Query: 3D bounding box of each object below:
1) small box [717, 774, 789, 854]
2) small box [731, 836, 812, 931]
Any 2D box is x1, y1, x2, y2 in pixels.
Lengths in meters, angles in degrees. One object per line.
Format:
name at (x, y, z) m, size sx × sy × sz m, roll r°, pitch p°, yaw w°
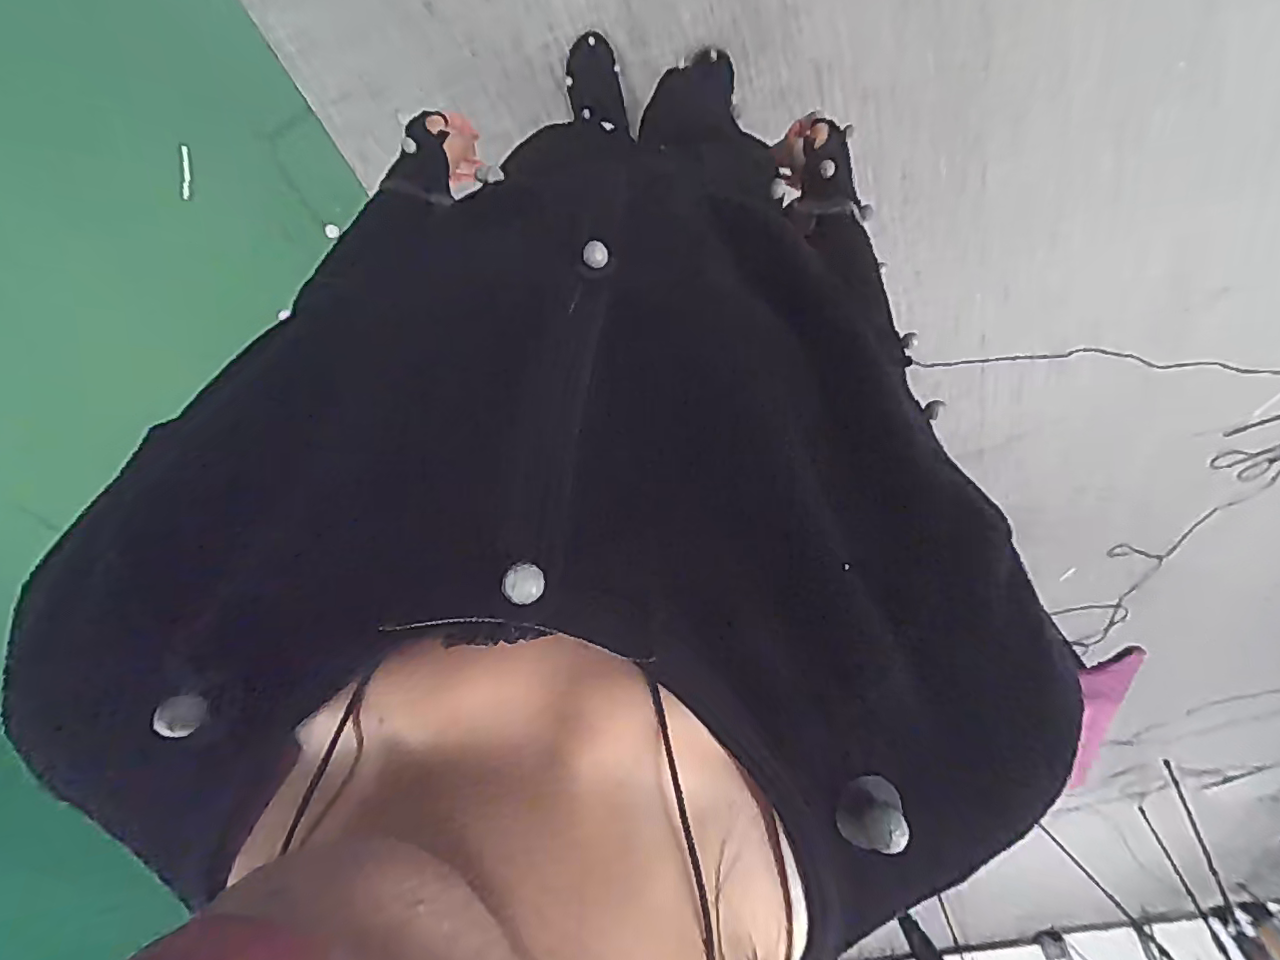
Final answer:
small box at (0.339, 1.014, 1.626) m, size 0.179 × 0.176 × 0.168 m, roll -21°, pitch 128°, yaw 14°
small box at (0.360, 1.121, 1.503) m, size 0.179 × 0.176 × 0.168 m, roll -17°, pitch 129°, yaw 10°
